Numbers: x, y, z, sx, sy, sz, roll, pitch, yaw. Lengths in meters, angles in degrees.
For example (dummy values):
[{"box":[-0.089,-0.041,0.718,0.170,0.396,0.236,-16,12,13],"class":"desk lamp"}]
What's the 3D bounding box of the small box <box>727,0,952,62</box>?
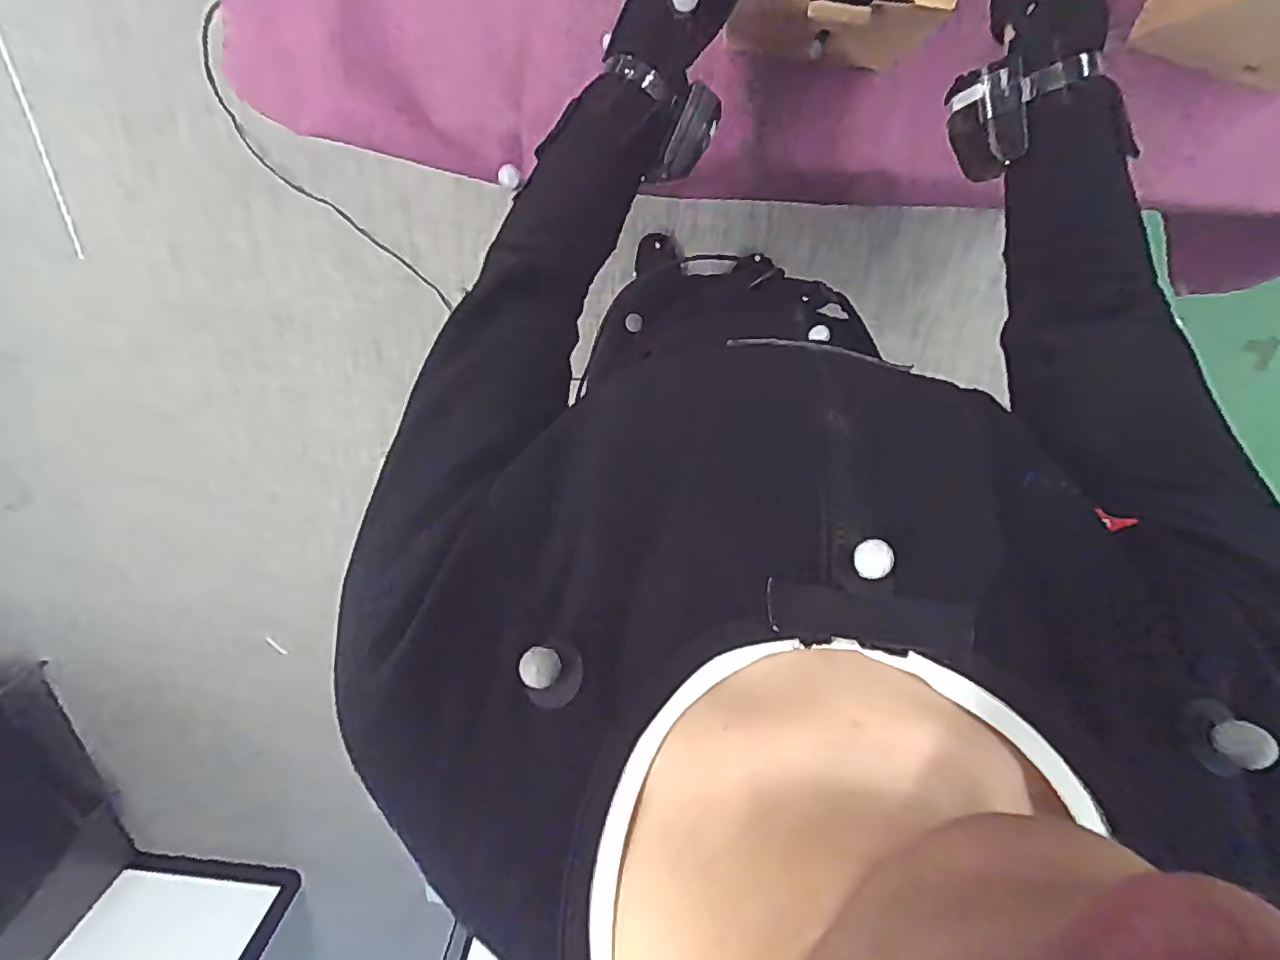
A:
[{"box":[0.165,-0.462,0.428,0.168,0.176,0.179,9,115,2],"class":"small box"}]
